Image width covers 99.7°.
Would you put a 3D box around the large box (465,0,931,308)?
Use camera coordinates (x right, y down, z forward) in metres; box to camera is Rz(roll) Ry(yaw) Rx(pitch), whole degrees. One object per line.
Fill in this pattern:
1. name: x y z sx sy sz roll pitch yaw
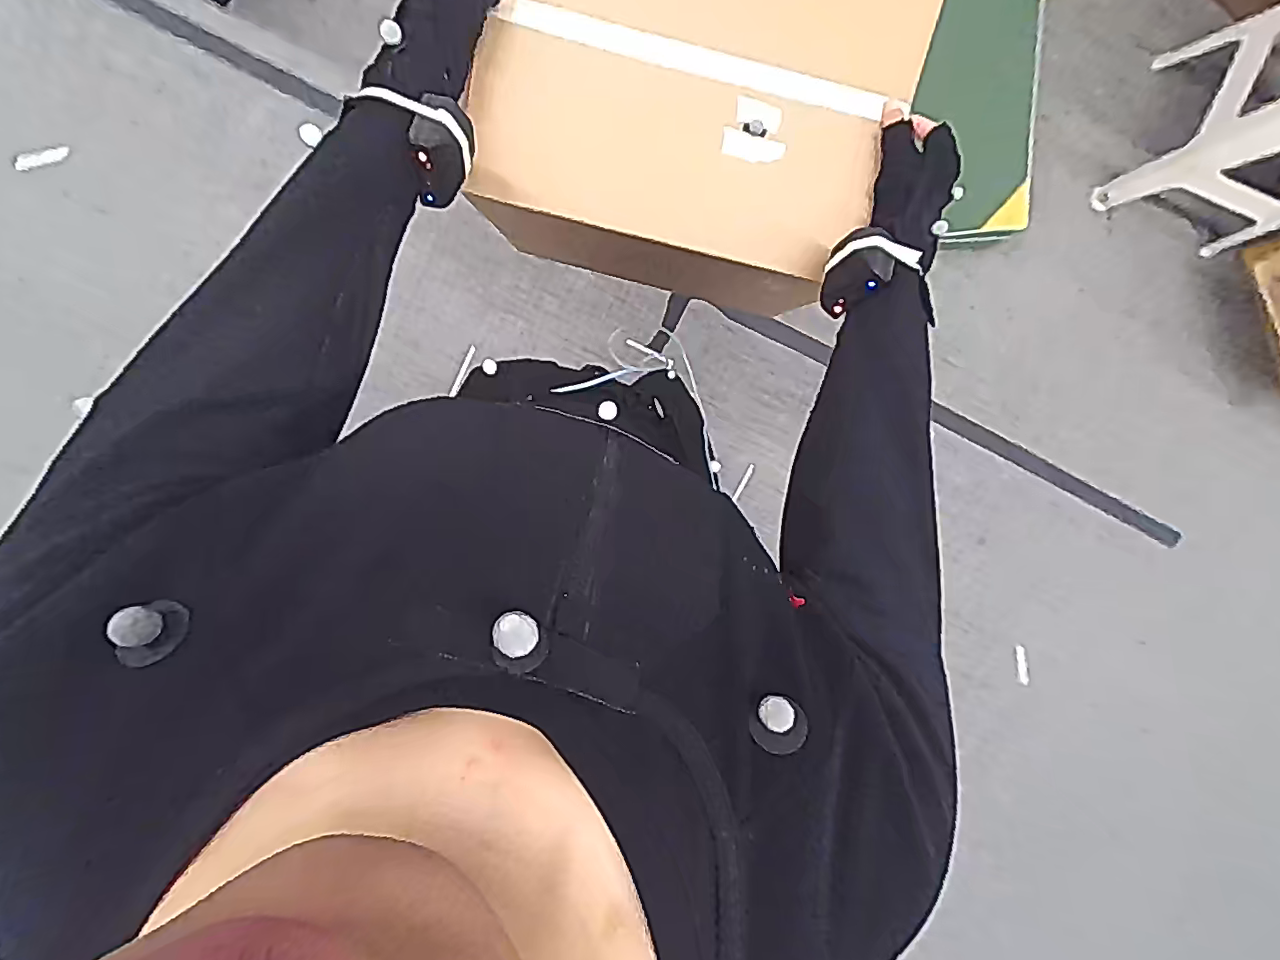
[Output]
1. large box: 0.049 -0.419 0.649 0.408 0.320 0.320 13 103 -4
